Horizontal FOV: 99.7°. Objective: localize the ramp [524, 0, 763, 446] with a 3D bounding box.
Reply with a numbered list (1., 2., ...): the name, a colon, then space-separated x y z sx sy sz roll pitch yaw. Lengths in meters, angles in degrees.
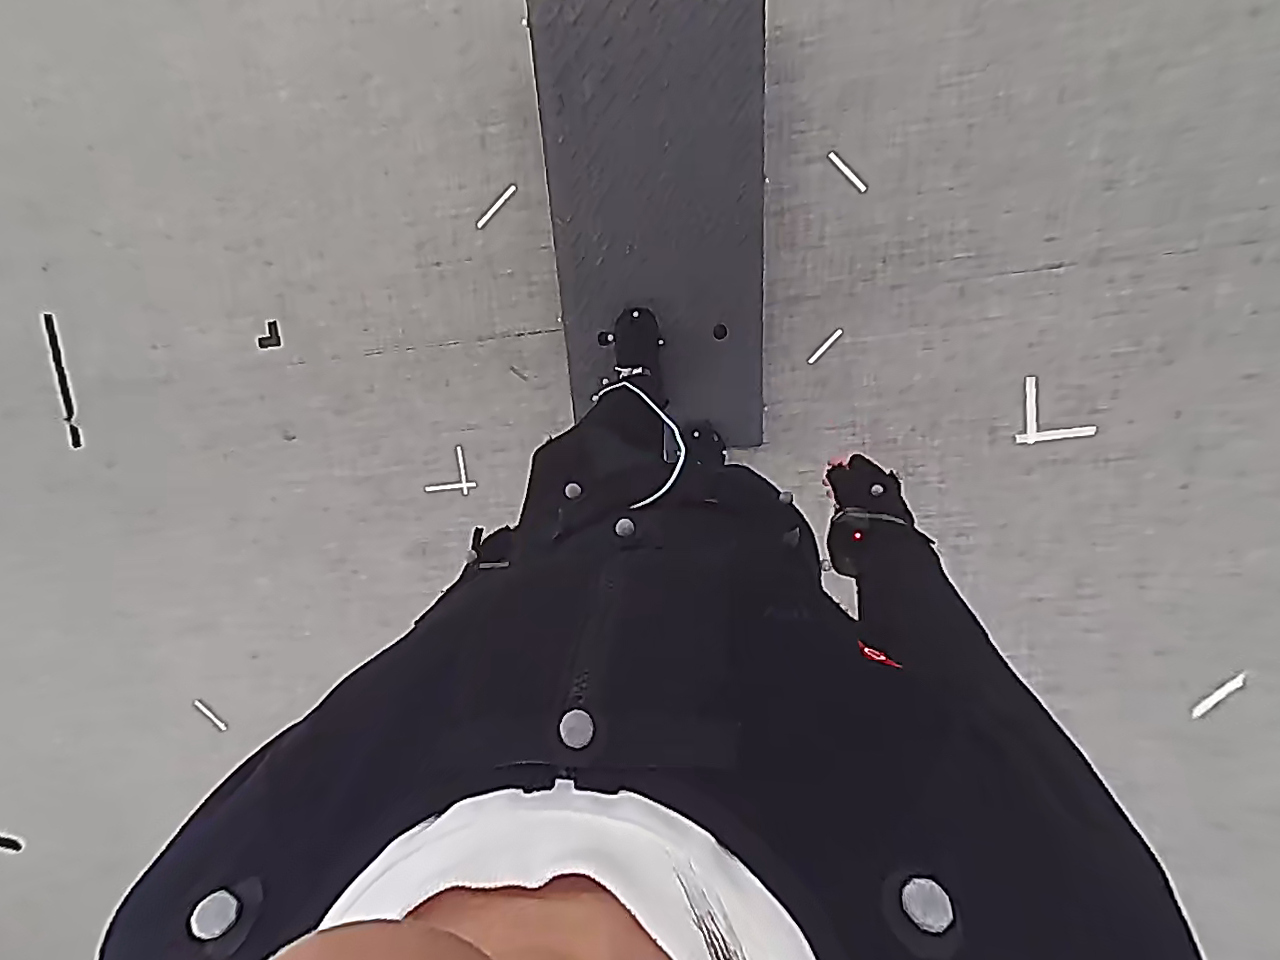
1. ramp: 0.038 -0.565 1.256 0.509 0.206 0.991 -3 101 8
